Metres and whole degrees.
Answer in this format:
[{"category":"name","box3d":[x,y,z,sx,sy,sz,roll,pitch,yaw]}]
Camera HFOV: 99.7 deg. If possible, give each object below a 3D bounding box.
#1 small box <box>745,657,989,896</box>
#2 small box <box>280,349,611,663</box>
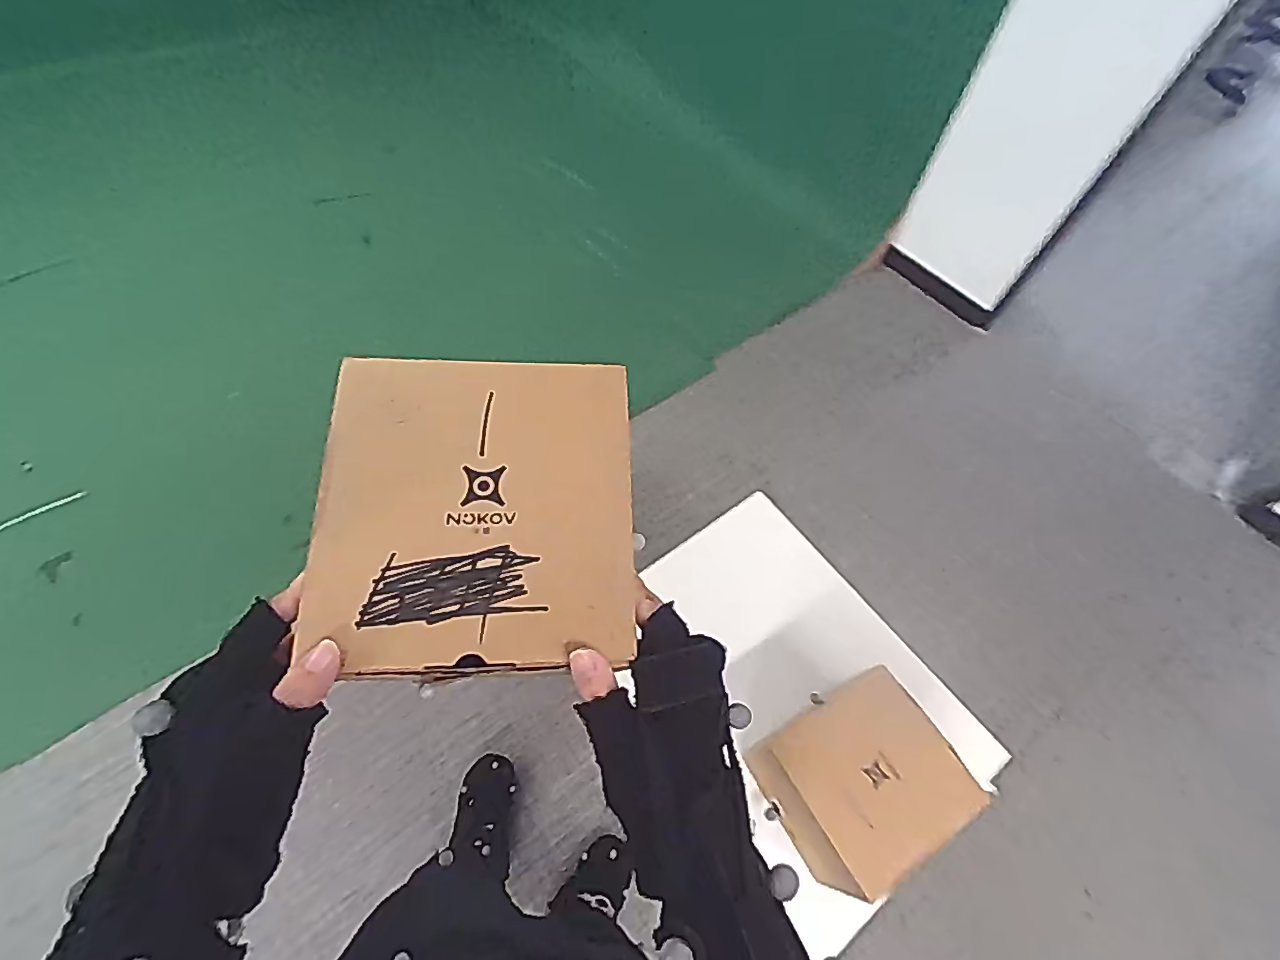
[{"category":"small box","box3d":[0.249,0.341,0.641,0.179,0.176,0.168,-27,63,-16]},{"category":"small box","box3d":[-0.107,0.033,0.374,0.168,0.176,0.179,1,68,-8]}]
